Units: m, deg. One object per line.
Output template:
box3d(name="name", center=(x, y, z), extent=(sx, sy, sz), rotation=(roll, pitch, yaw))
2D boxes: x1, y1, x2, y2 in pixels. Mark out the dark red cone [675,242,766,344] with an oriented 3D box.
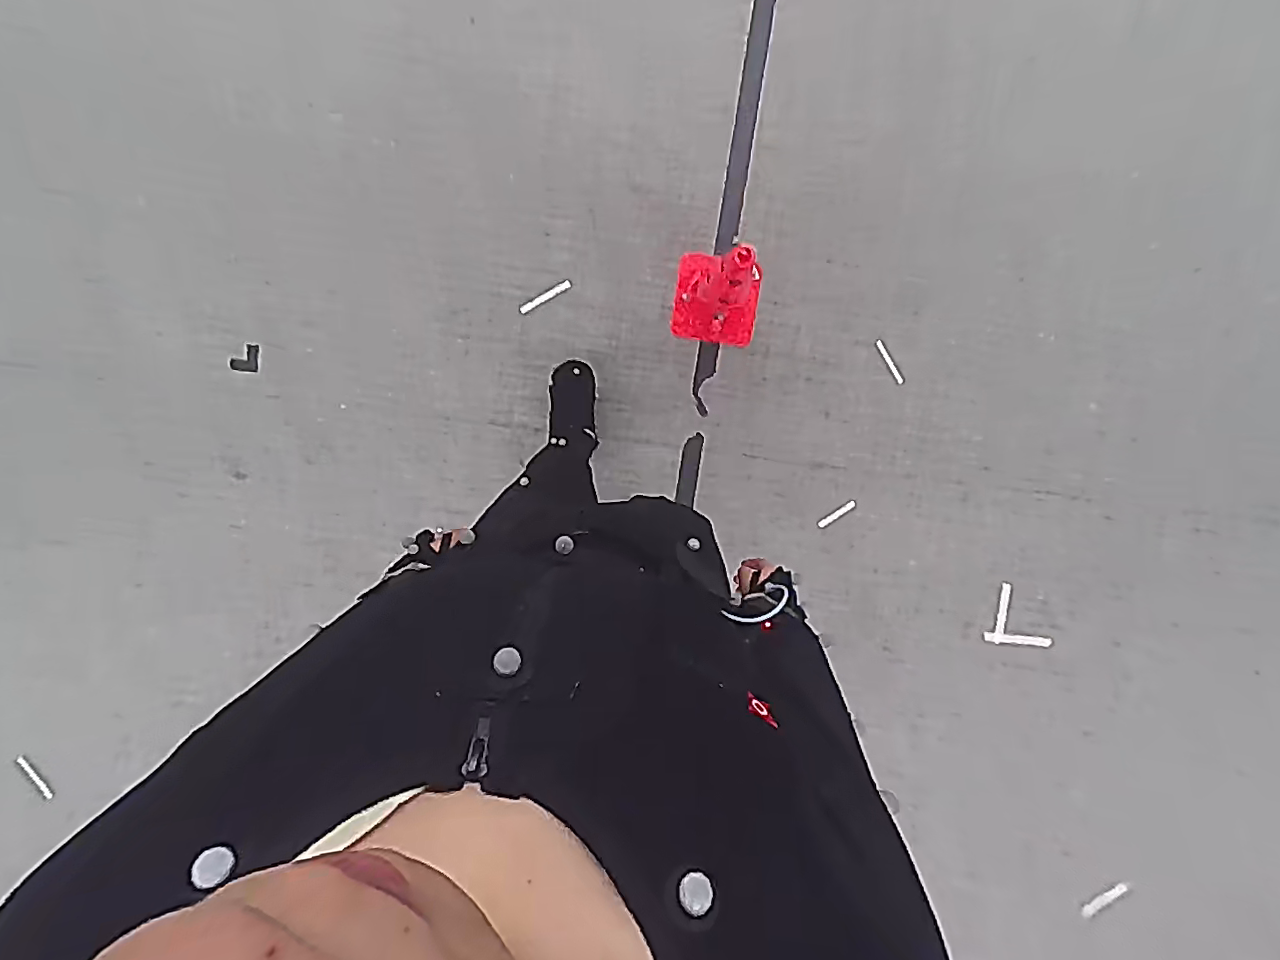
box3d(name="dark red cone", center=(0.186, -0.412, 1.114), extent=(0.201, 0.394, 0.202), rotation=(7, 96, 0))
